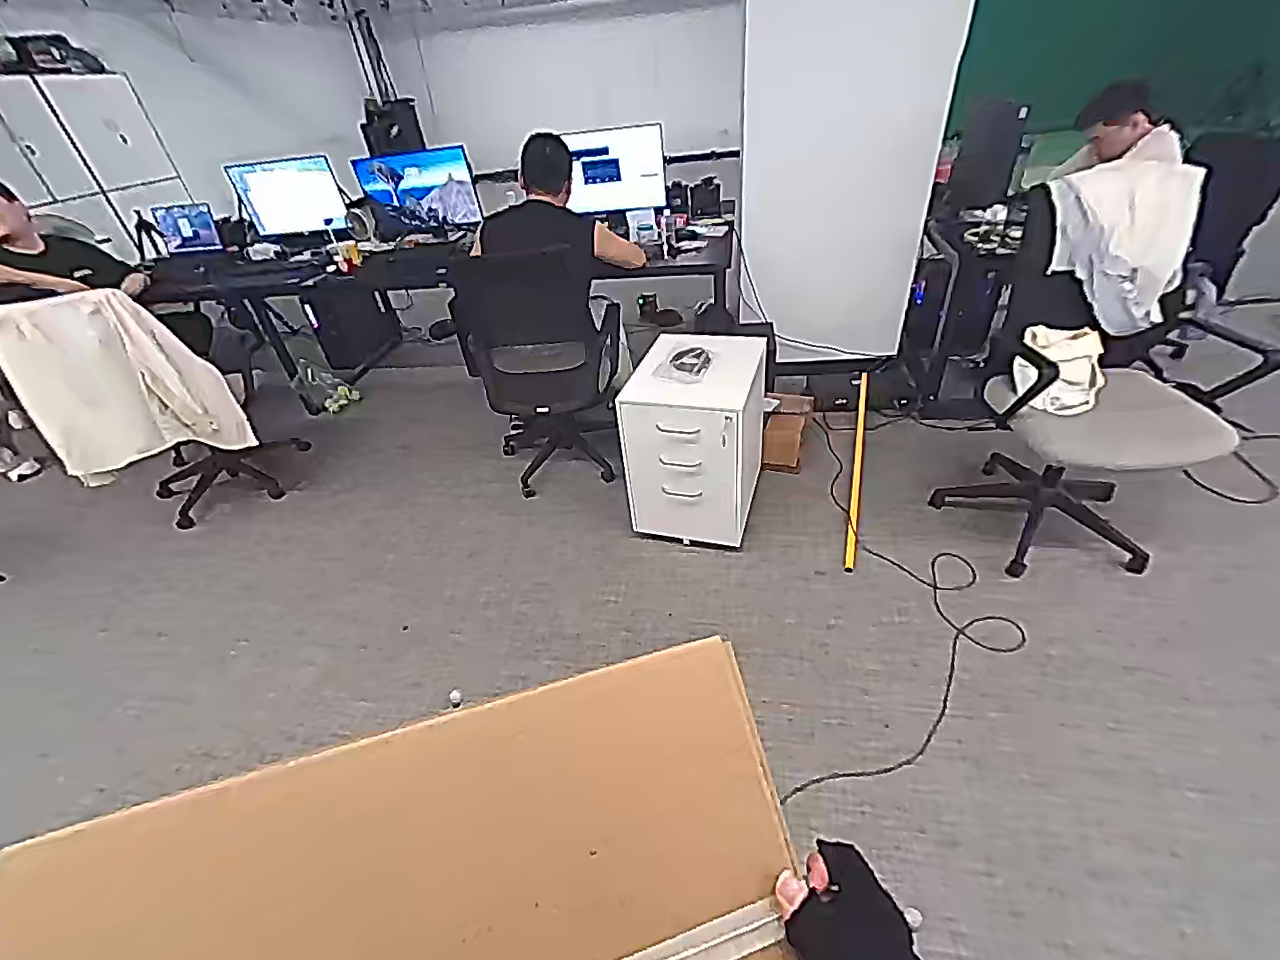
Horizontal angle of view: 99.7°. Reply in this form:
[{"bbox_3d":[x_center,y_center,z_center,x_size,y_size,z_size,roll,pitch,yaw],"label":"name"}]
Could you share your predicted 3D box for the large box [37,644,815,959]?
[{"bbox_3d":[-0.112,0.344,0.433,0.408,0.320,0.320,-13,73,-12],"label":"large box"}]
